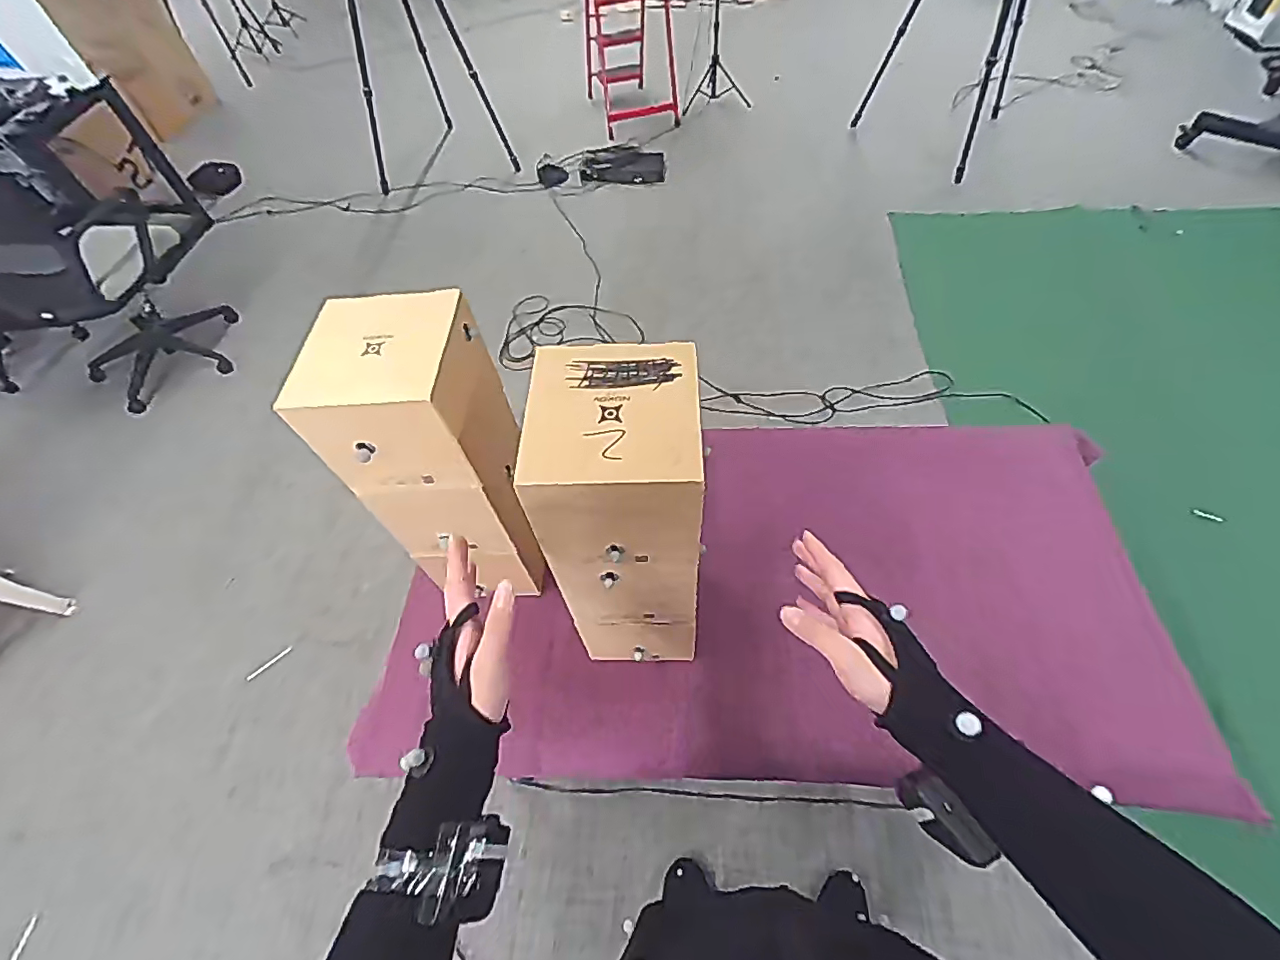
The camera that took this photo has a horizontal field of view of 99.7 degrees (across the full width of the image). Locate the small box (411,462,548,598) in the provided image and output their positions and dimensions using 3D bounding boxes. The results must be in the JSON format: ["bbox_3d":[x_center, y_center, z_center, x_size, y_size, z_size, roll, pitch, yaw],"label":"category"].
[{"bbox_3d":[-0.257,0.087,0.919,0.168,0.176,0.179,-2,56,4],"label":"small box"}]

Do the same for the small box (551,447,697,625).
[{"bbox_3d":[-0.011,0.075,0.708,0.168,0.176,0.179,-1,55,4],"label":"small box"}]

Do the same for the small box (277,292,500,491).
[{"bbox_3d":[-0.280,-0.097,0.652,0.168,0.176,0.179,-3,55,4],"label":"small box"}]

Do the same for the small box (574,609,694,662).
[{"bbox_3d":[-0.001,0.170,0.841,0.168,0.176,0.179,-1,56,5],"label":"small box"}]

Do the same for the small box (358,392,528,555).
[{"bbox_3d":[-0.267,-0.006,0.786,0.168,0.176,0.179,-2,56,4],"label":"small box"}]
